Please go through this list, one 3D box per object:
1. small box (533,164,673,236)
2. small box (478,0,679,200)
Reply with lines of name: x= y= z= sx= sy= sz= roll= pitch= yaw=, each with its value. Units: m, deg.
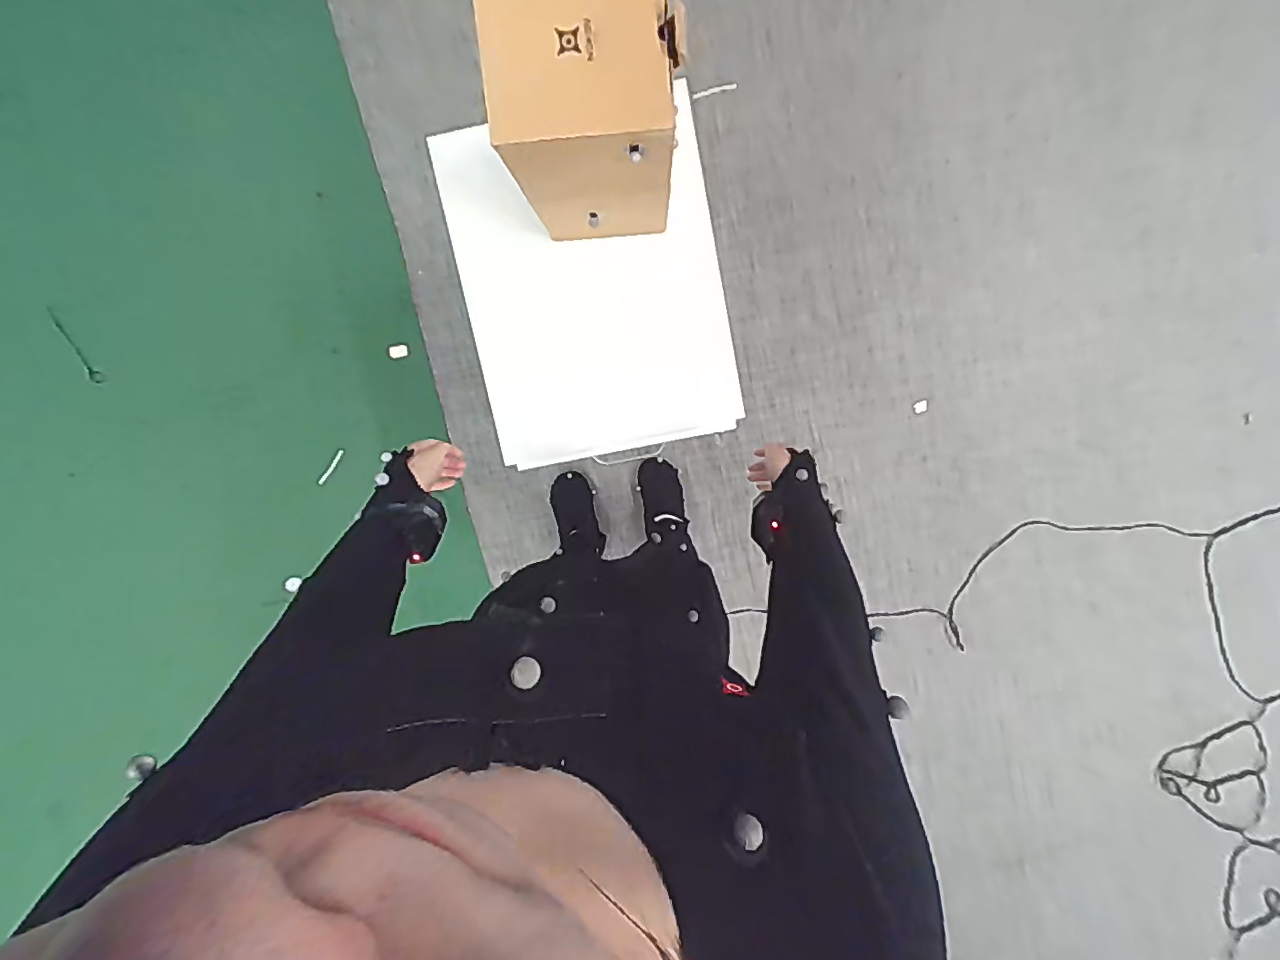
small box: x=-0.048 y=-0.441 z=0.729 sx=0.179 sy=0.176 sz=0.168 roll=-4 pitch=99 yaw=2
small box: x=-0.055 y=-0.413 z=0.568 sx=0.179 sy=0.176 sz=0.168 roll=-5 pitch=99 yaw=1
